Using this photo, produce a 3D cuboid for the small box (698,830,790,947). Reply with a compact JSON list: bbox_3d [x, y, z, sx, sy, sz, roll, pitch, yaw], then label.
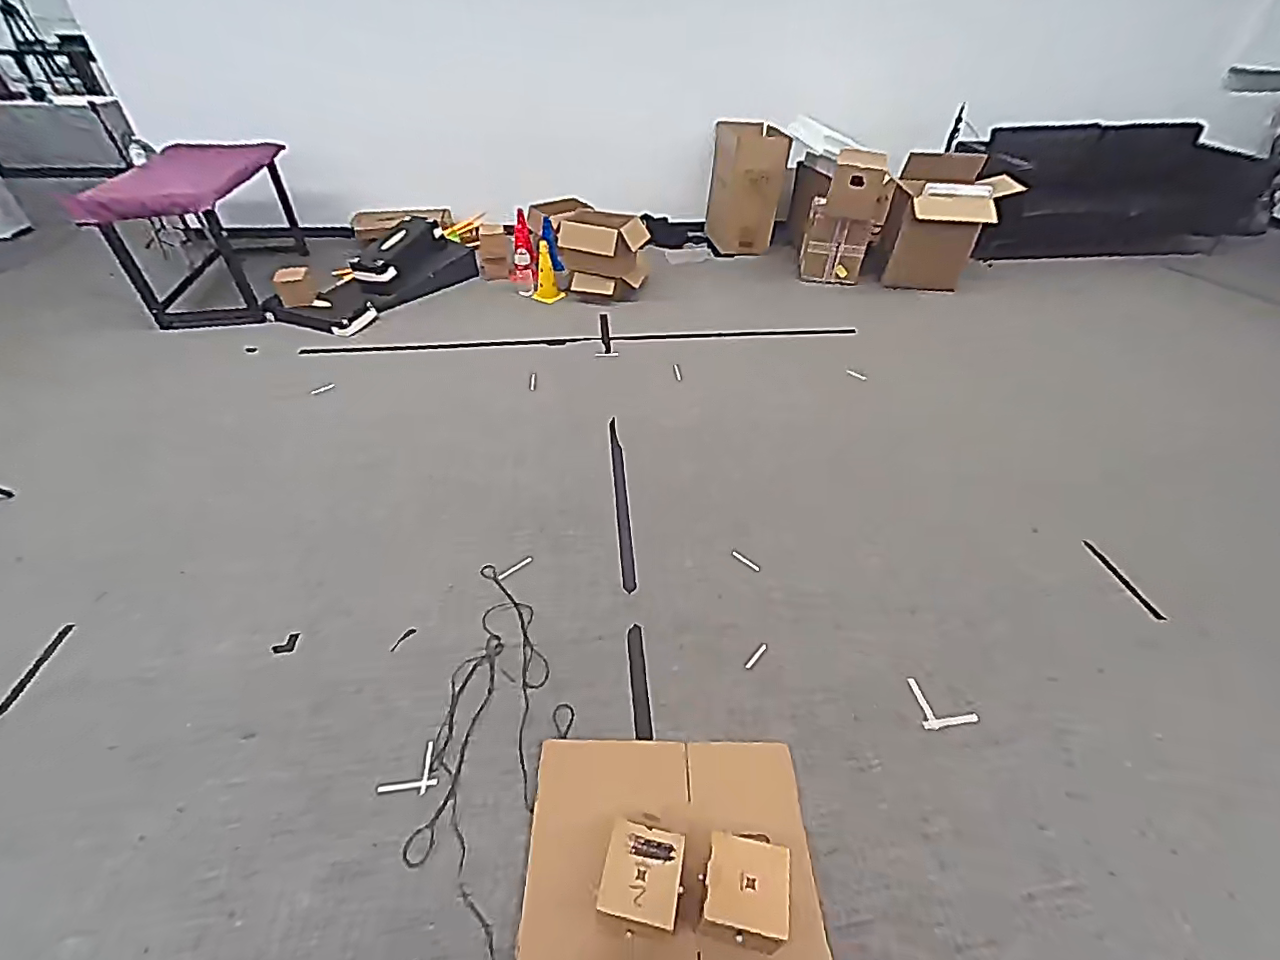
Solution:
[{"bbox_3d":[0.235,0.932,1.229,0.179,0.176,0.168,9,43,9],"label":"small box"}]
